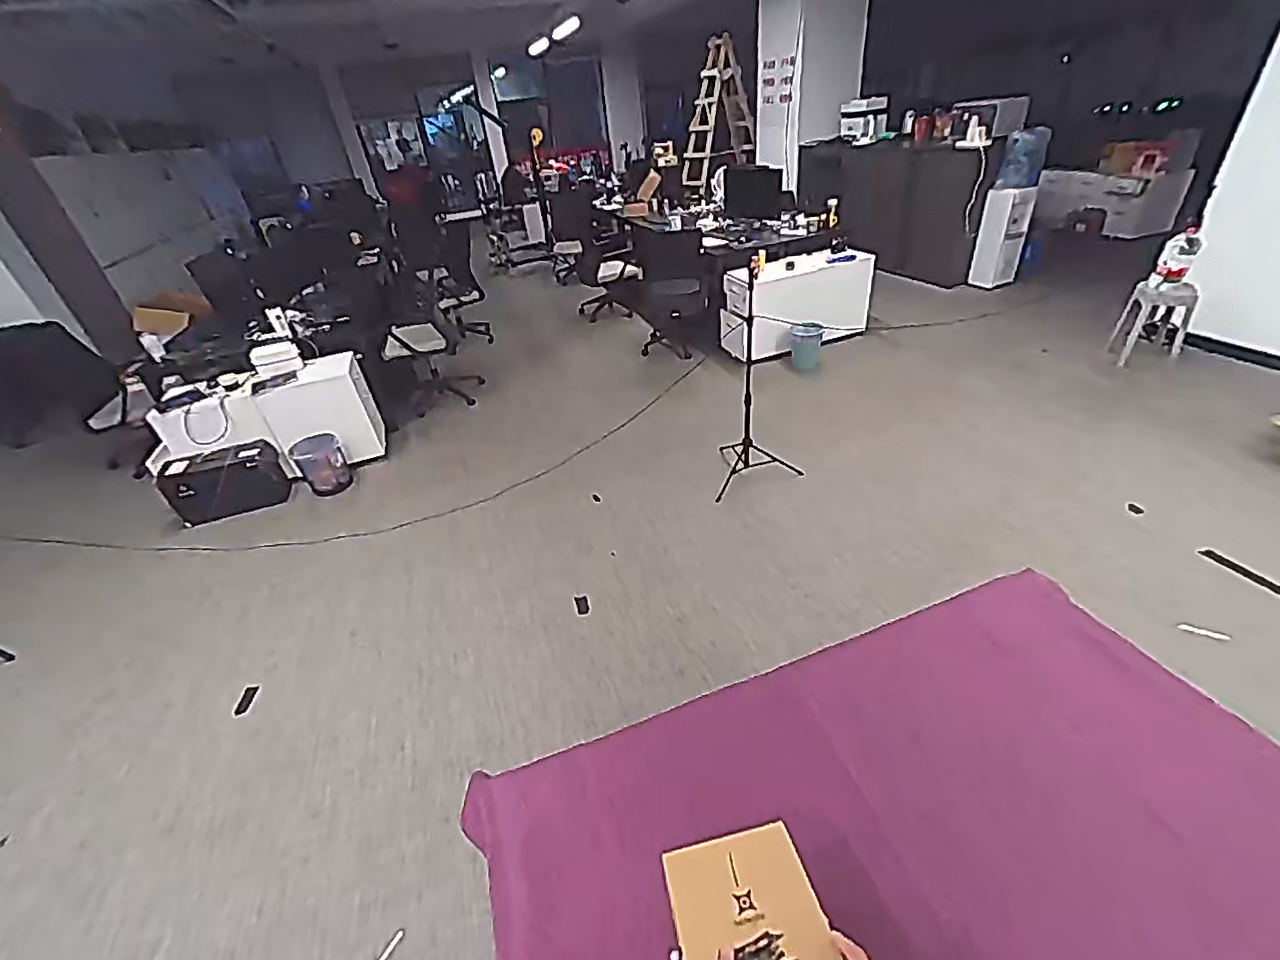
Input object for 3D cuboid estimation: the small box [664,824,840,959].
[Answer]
[{"bbox_3d":[0.134,0.569,0.657,0.168,0.176,0.179,-12,30,-7],"label":"small box"}]
